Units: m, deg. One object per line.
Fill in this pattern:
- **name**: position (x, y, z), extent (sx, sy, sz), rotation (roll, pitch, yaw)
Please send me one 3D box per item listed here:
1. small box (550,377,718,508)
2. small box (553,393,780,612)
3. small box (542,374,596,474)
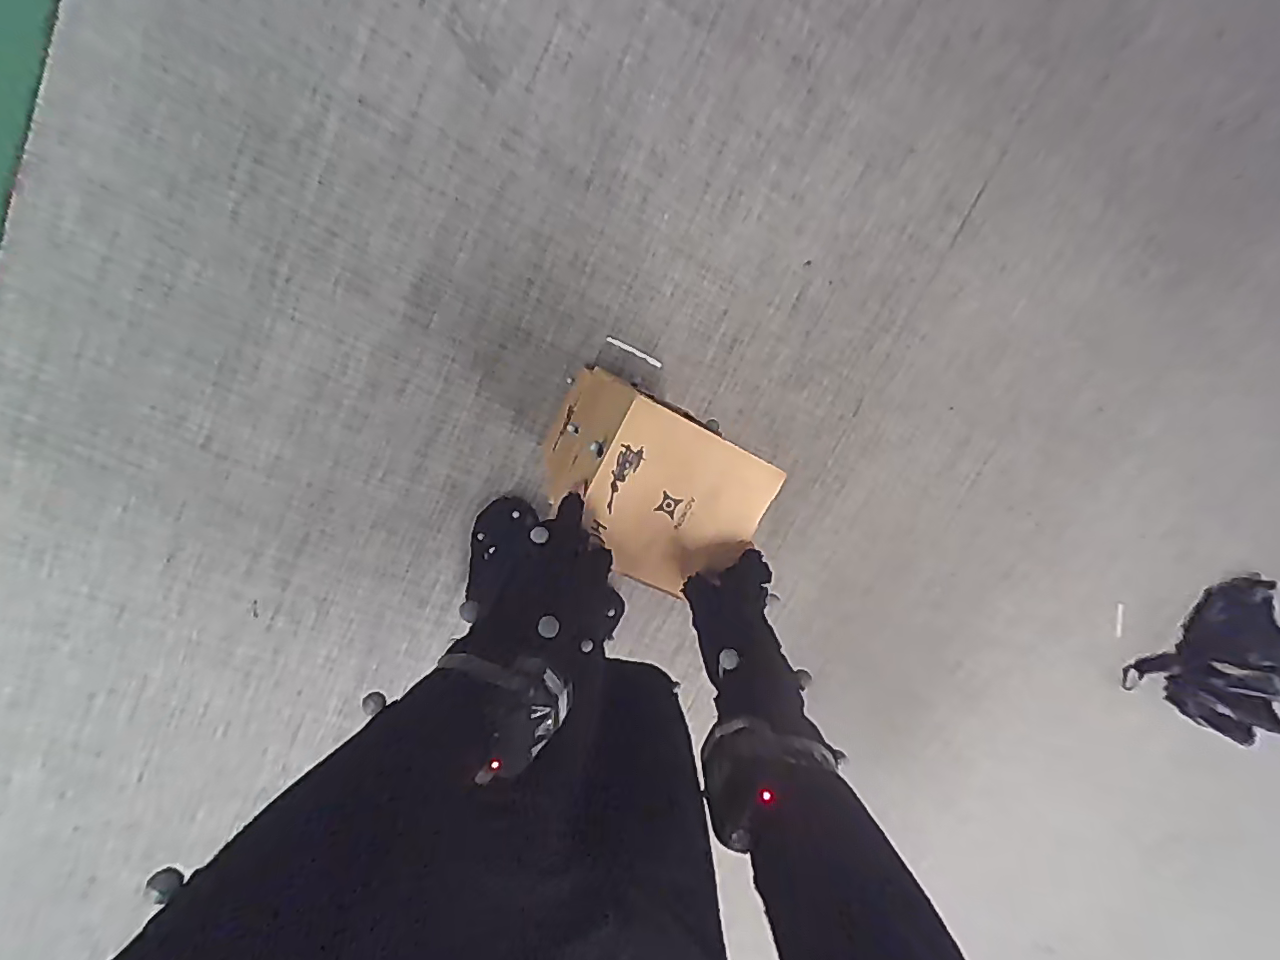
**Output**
- **small box**: position (-0.021, -0.032, 0.763), extent (0.168, 0.176, 0.179), rotation (24, 101, -15)
- **small box**: position (0.016, 0.013, 0.607), extent (0.179, 0.176, 0.168), rotation (27, 97, -16)
- **small box**: position (-0.059, -0.074, 0.933), extent (0.179, 0.176, 0.168), rotation (25, 100, -17)
